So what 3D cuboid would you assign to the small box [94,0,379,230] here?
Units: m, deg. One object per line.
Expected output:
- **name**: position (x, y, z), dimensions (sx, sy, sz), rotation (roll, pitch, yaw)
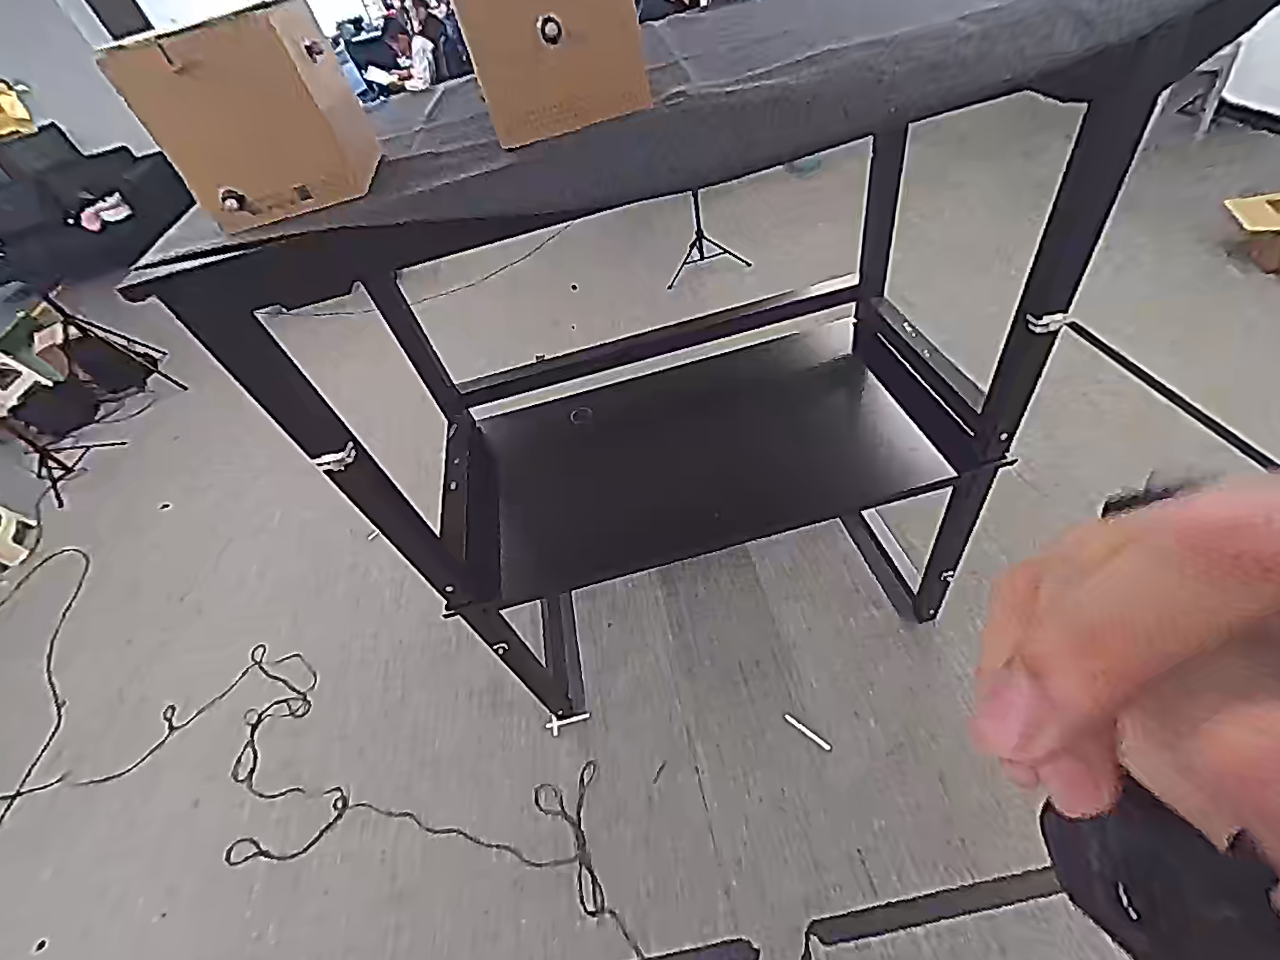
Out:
- **small box**: position (-0.418, -0.402, 0.602), dimensions (0.168, 0.176, 0.179), rotation (-16, 47, 0)
